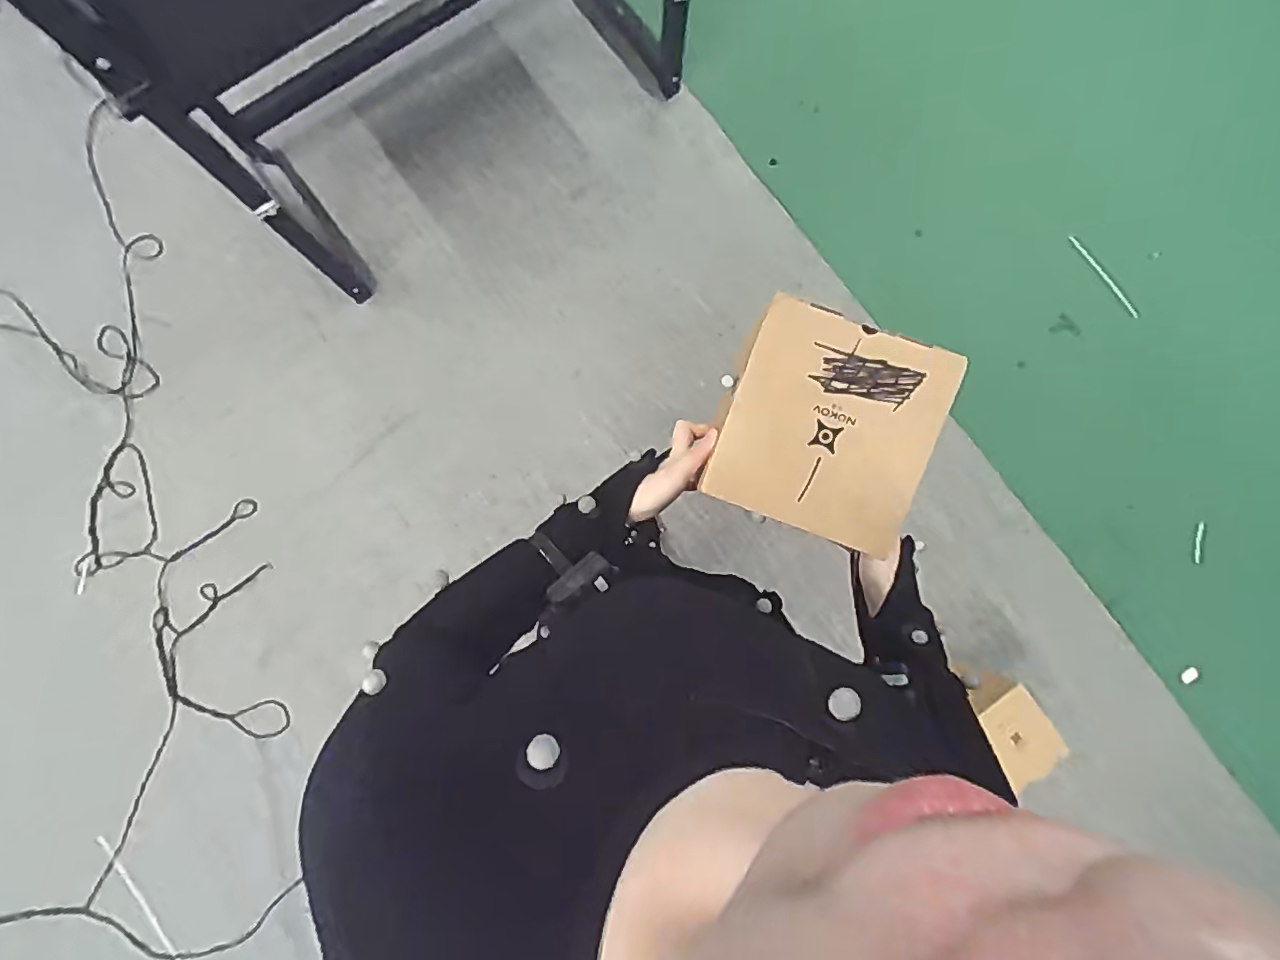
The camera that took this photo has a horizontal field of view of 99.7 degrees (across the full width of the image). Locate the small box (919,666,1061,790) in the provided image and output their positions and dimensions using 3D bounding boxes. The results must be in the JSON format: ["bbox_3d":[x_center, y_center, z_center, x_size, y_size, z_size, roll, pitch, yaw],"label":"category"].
[{"bbox_3d":[0.796,0.560,1.248,0.168,0.176,0.179,-34,85,-5],"label":"small box"}]

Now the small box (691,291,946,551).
[{"bbox_3d":[0.151,-0.055,0.530,0.168,0.176,0.179,20,96,2],"label":"small box"}]

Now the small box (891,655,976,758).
[{"bbox_3d":[0.797,0.576,1.410,0.168,0.176,0.179,-31,84,-3],"label":"small box"}]
